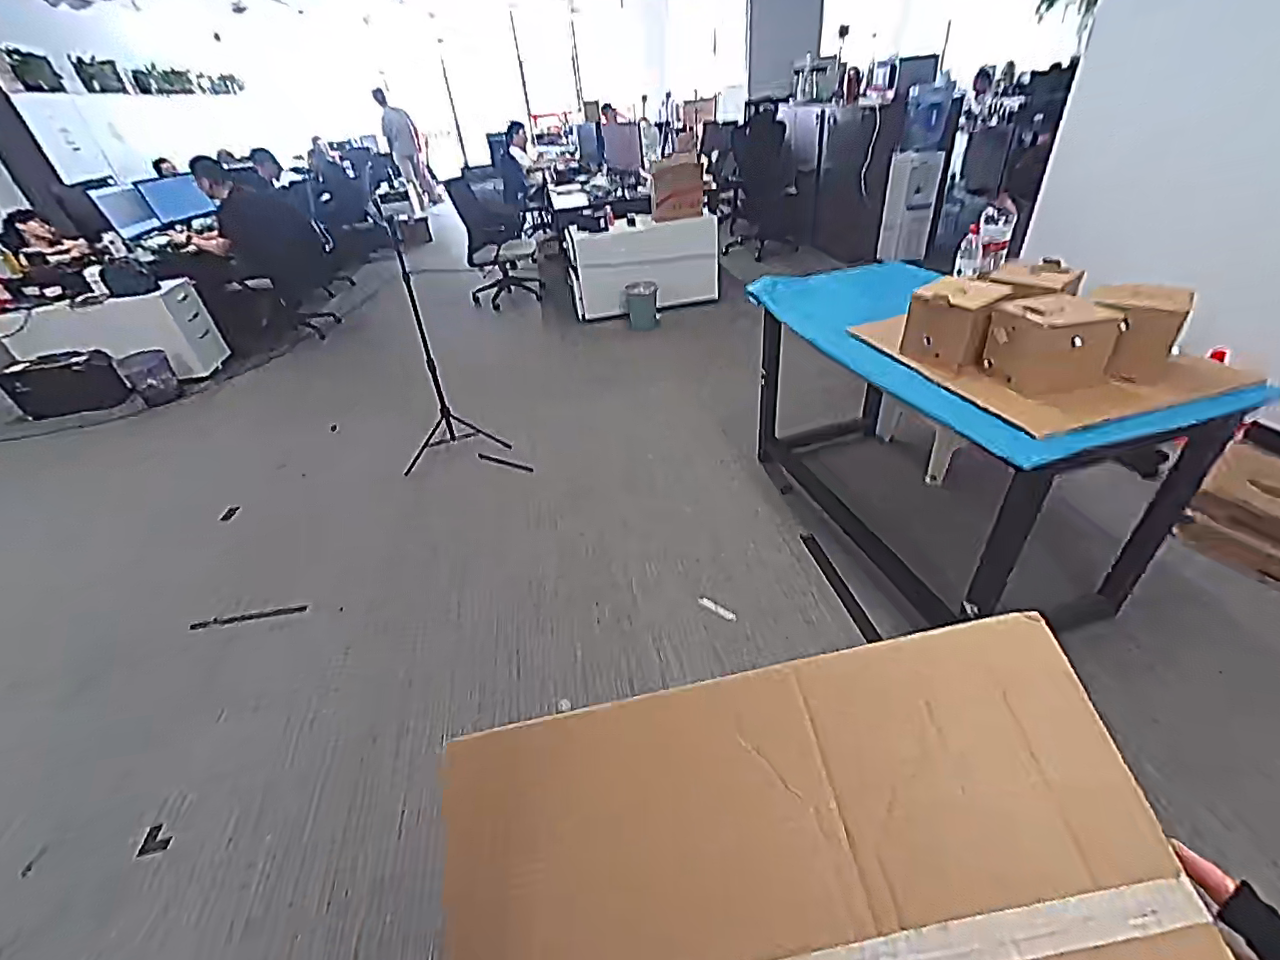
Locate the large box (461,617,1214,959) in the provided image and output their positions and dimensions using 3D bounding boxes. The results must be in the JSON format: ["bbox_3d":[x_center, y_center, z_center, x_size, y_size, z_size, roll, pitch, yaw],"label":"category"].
[{"bbox_3d":[0.116,0.338,0.427,0.408,0.320,0.320,-13,63,1],"label":"large box"}]
